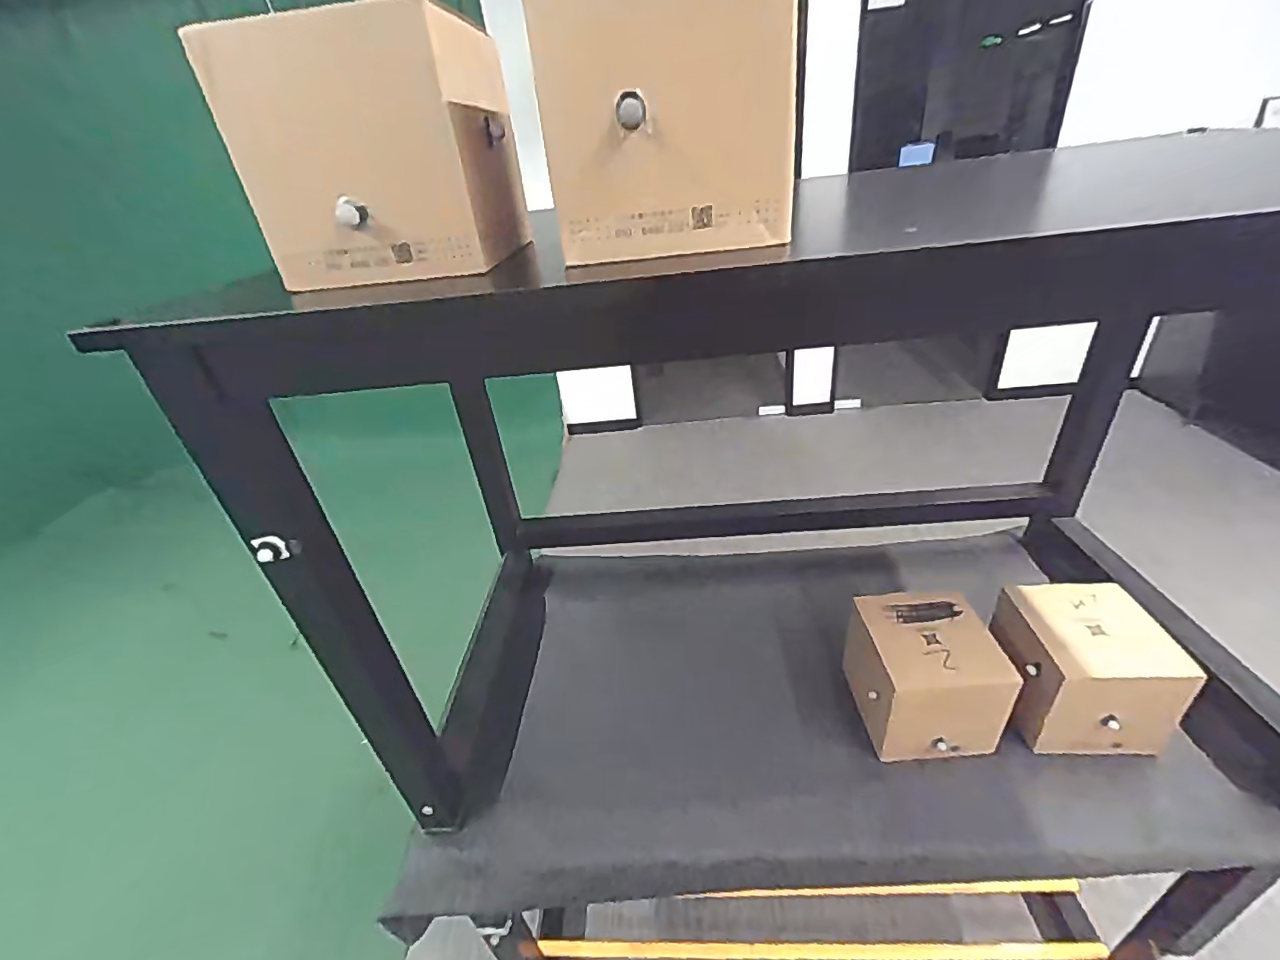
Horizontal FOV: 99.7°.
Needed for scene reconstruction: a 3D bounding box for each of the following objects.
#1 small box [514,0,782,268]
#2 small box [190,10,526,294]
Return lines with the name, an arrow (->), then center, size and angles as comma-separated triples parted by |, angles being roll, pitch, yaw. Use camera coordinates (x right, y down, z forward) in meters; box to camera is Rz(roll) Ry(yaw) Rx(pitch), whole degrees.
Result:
small box -> 0.018, -0.271, 0.428 | 0.168, 0.176, 0.179 | -4, 31, 6
small box -> -0.205, -0.265, 0.459 | 0.168, 0.176, 0.179 | -4, 32, 6
